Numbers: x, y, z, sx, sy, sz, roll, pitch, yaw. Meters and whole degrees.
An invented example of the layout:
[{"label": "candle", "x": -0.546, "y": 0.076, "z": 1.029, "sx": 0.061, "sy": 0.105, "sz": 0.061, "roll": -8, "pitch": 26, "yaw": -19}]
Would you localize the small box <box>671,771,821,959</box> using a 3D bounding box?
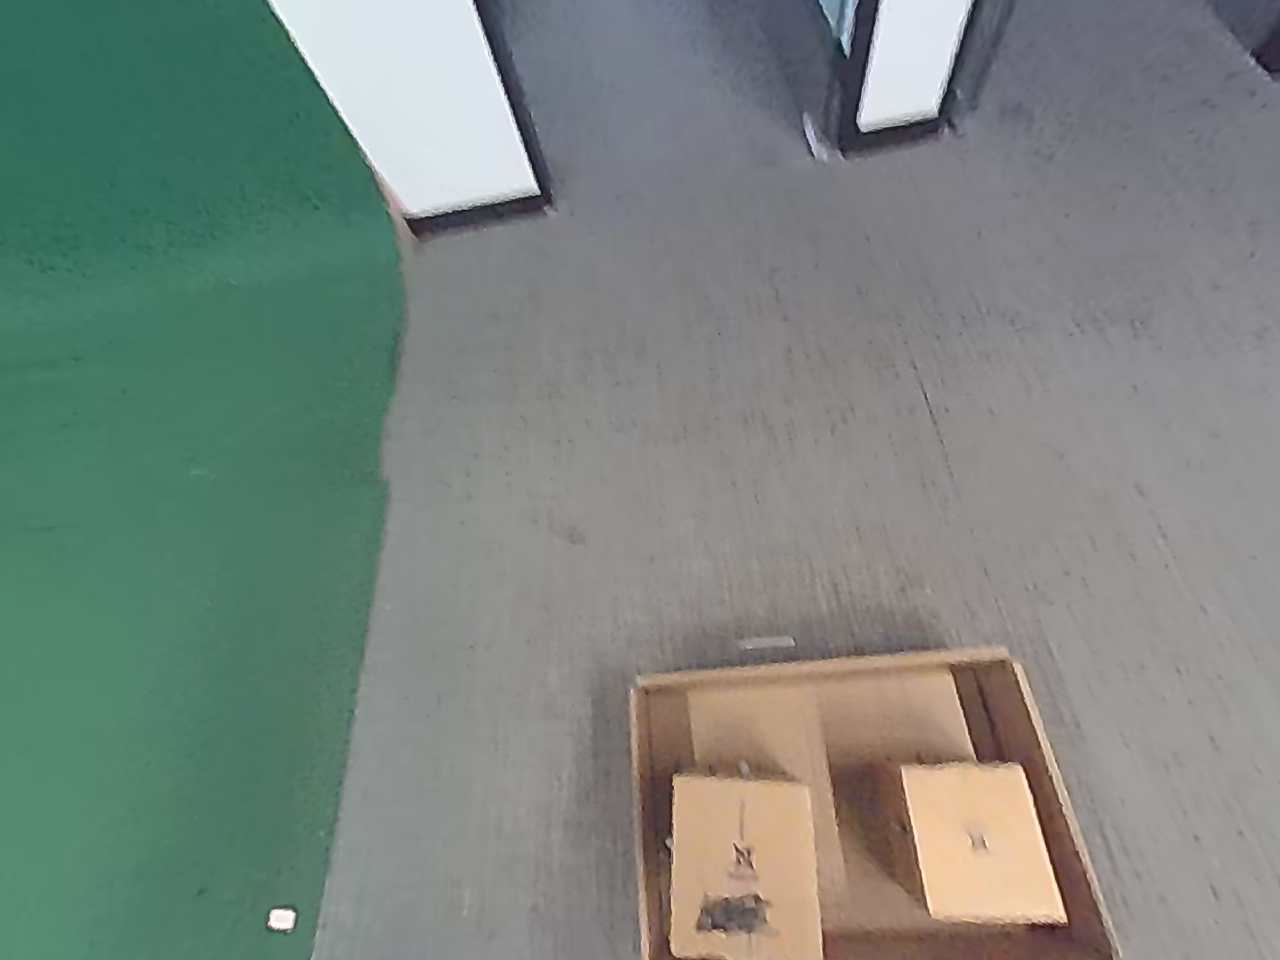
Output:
[{"label": "small box", "x": 0.134, "y": 0.482, "z": 0.696, "sx": 0.168, "sy": 0.176, "sz": 0.179, "roll": -1, "pitch": 63, "yaw": 9}]
